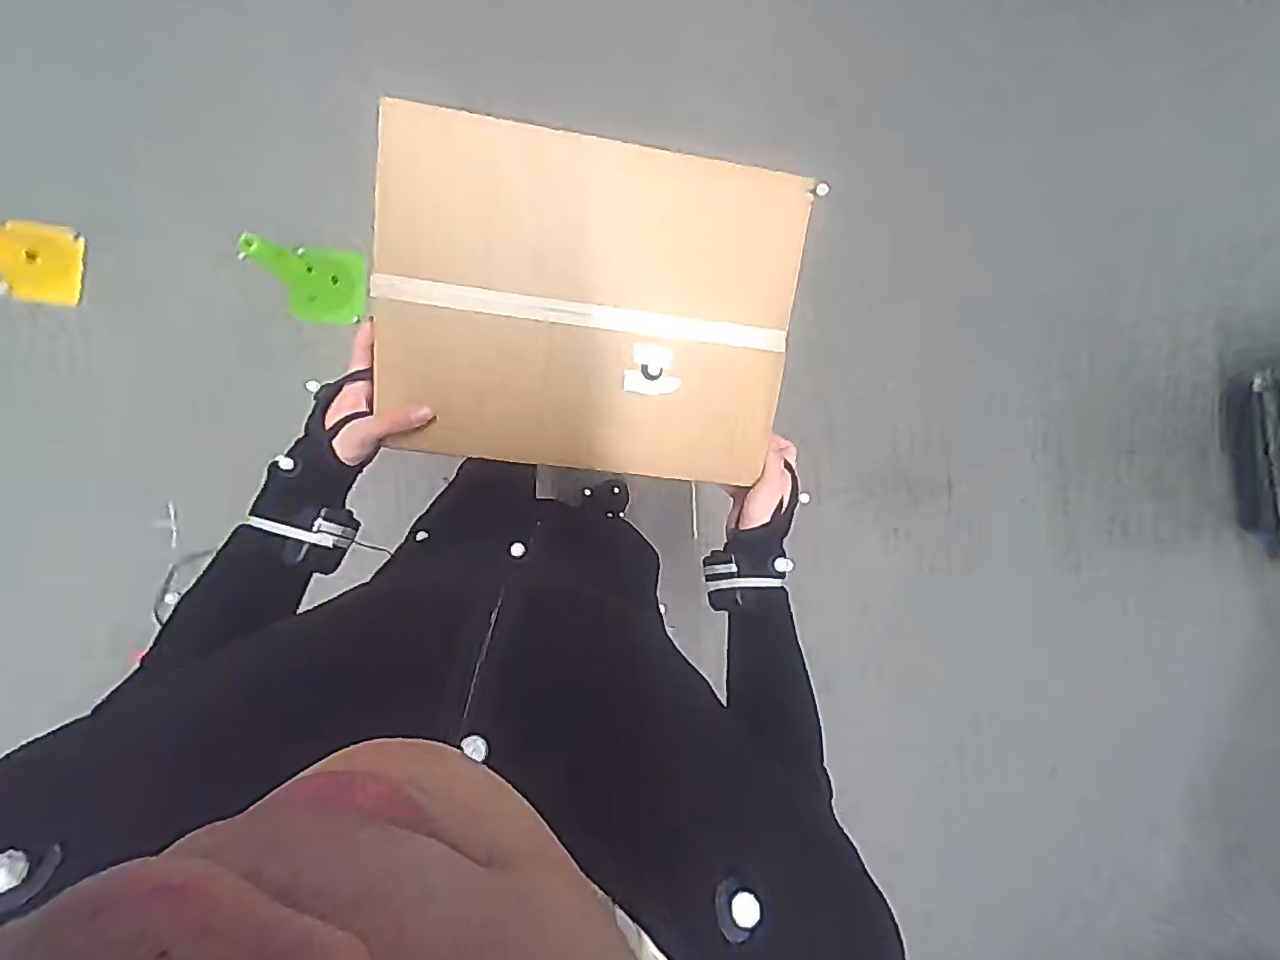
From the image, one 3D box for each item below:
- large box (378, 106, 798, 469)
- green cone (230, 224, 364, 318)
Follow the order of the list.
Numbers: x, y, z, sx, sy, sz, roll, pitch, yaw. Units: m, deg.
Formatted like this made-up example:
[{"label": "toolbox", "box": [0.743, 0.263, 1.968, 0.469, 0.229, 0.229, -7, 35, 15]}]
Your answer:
[{"label": "large box", "box": [-0.073, -0.206, 0.683, 0.408, 0.320, 0.320, 5, 104, -9]}, {"label": "green cone", "box": [-0.876, -0.554, 1.354, 0.202, 0.368, 0.200, 5, 94, -3]}]
